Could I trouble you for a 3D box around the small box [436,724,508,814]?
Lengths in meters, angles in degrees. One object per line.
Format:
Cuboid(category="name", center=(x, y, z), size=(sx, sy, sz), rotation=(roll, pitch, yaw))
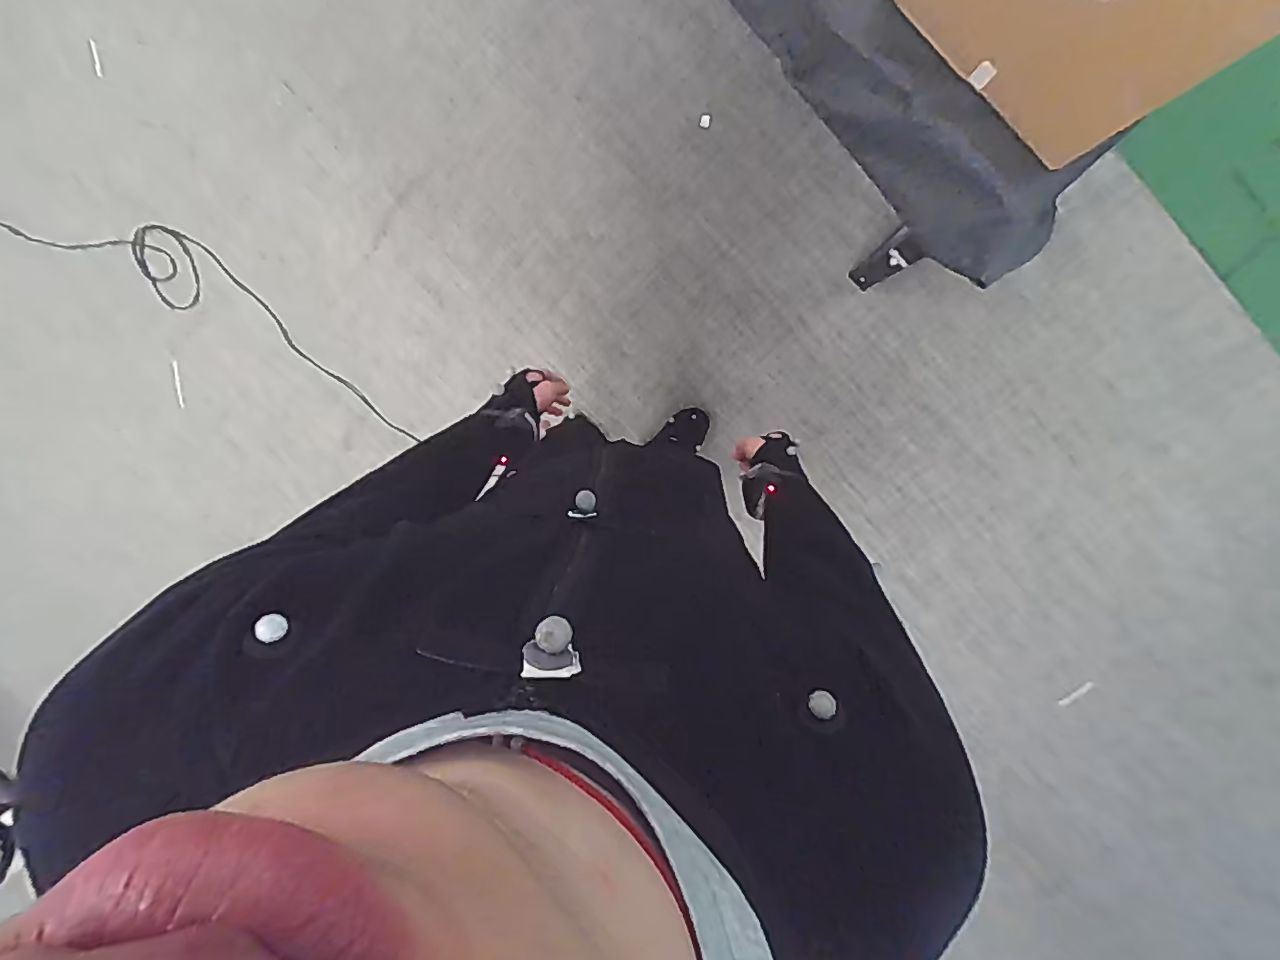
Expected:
Cuboid(category="small box", center=(-0.532, 0.916, 1.730), size=(0.168, 0.176, 0.179), rotation=(11, 104, 5))
